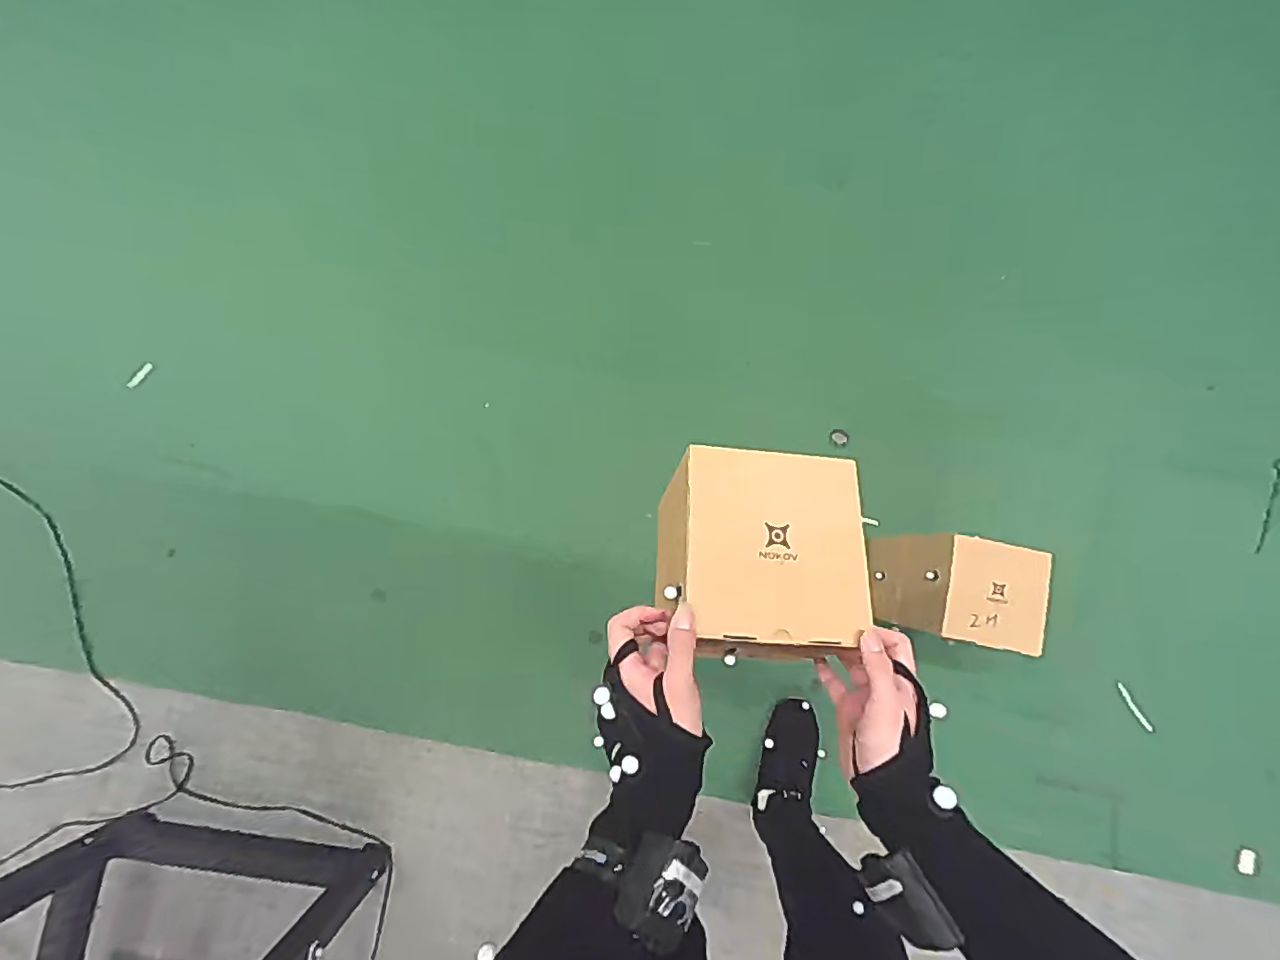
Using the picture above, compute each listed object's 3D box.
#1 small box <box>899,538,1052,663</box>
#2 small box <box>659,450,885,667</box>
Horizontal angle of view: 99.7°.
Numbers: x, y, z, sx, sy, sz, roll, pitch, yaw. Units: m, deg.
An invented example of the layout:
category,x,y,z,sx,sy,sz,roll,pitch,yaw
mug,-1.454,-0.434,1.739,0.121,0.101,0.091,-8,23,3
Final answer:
category,x,y,z,sx,sy,sz,roll,pitch,yaw
small box,0.593,0.209,0.974,0.168,0.176,0.179,12,83,2
small box,0.114,0.088,0.541,0.168,0.176,0.179,5,69,-7
